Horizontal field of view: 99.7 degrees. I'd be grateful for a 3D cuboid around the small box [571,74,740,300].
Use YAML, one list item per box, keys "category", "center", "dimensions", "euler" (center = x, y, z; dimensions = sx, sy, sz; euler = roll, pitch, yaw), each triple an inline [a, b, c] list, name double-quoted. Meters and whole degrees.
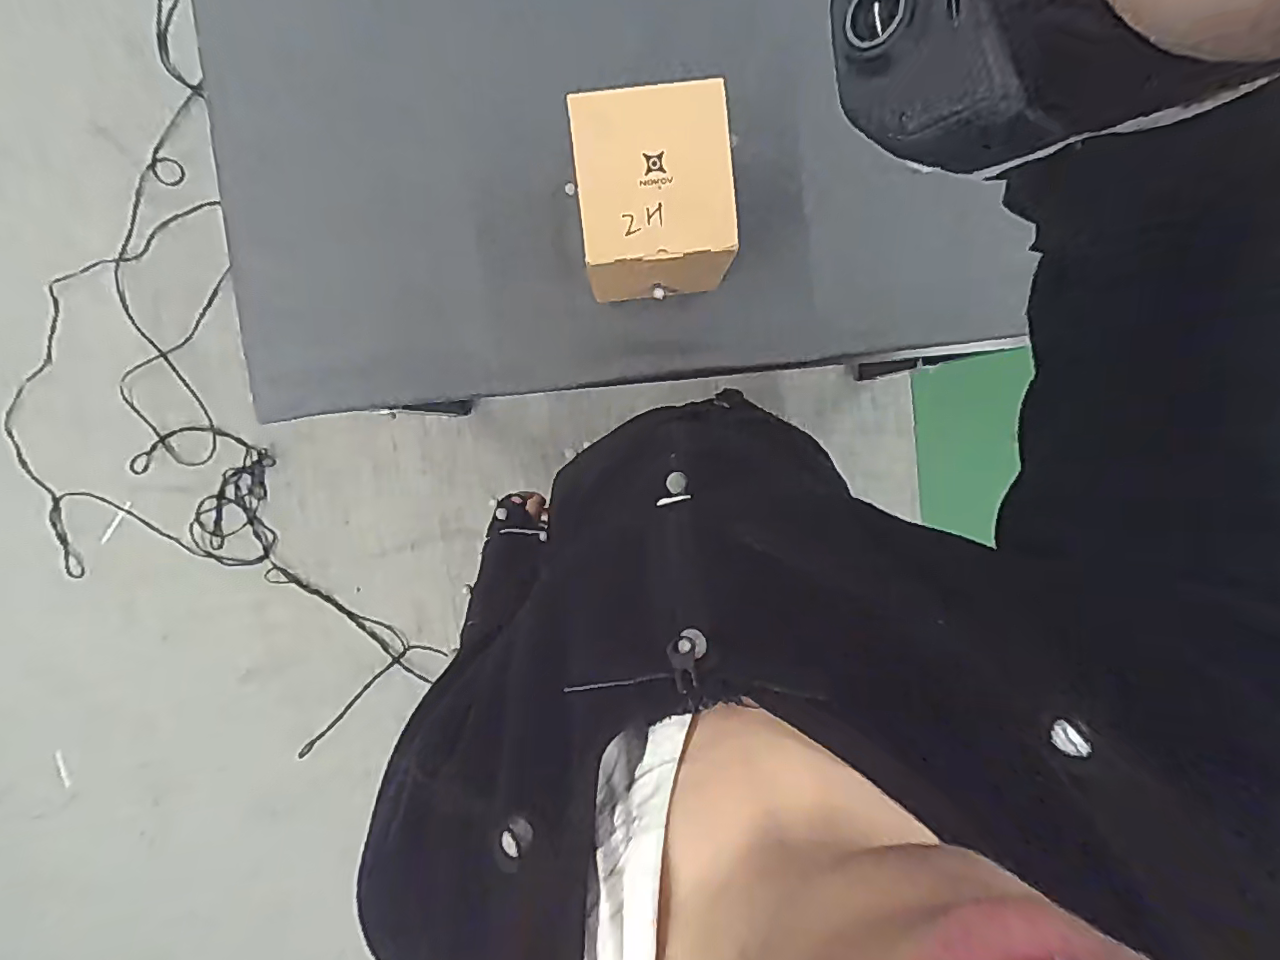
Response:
- category: "small box"
  center: [0.016, -0.330, 0.641]
  dimensions: [0.168, 0.176, 0.179]
  euler: [-6, 94, 1]
